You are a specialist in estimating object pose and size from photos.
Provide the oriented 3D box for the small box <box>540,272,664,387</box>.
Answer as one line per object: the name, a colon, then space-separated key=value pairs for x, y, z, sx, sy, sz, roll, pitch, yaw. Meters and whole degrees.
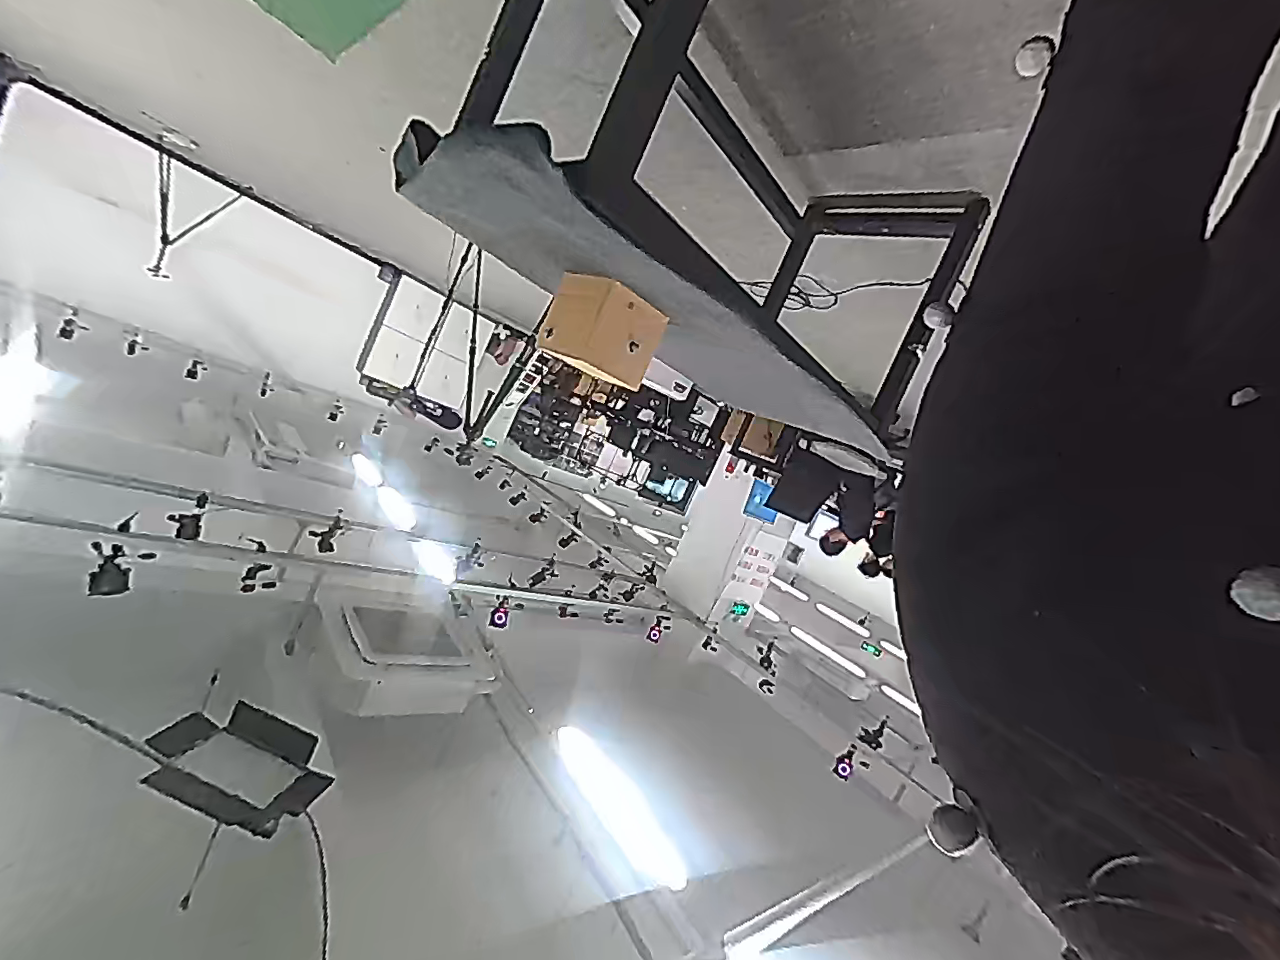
small box: x=-0.072 y=-0.312 z=1.116 sx=0.168 sy=0.176 sz=0.179 roll=19 pitch=-173 yaw=-45
